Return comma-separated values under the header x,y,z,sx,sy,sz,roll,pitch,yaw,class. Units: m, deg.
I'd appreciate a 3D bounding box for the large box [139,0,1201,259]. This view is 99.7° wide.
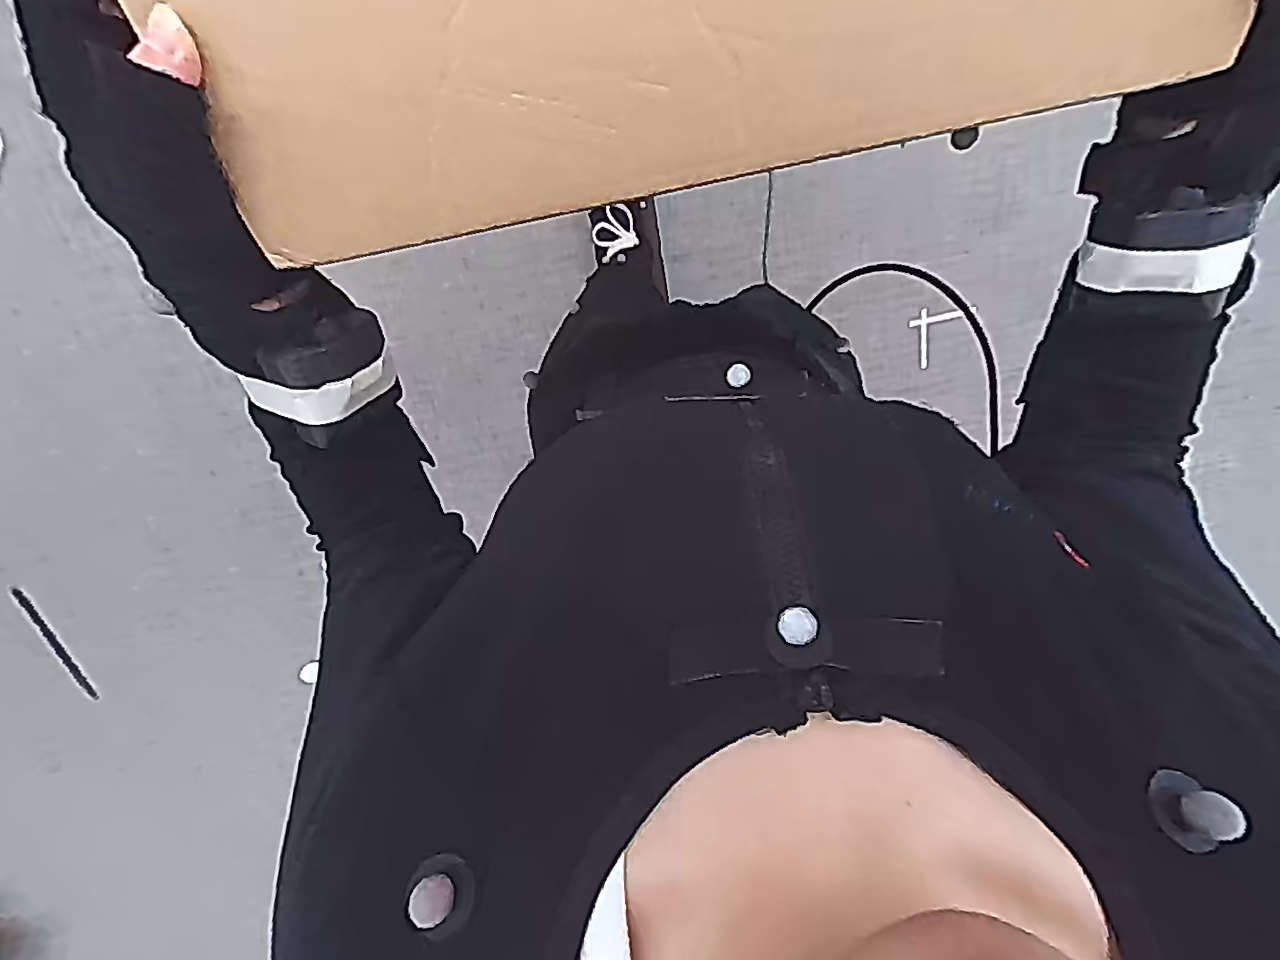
x,y,z,sx,sy,sz,roll,pitch,yaw,class
-0.004,-0.346,0.269,0.408,0.320,0.320,-10,125,4,large box
